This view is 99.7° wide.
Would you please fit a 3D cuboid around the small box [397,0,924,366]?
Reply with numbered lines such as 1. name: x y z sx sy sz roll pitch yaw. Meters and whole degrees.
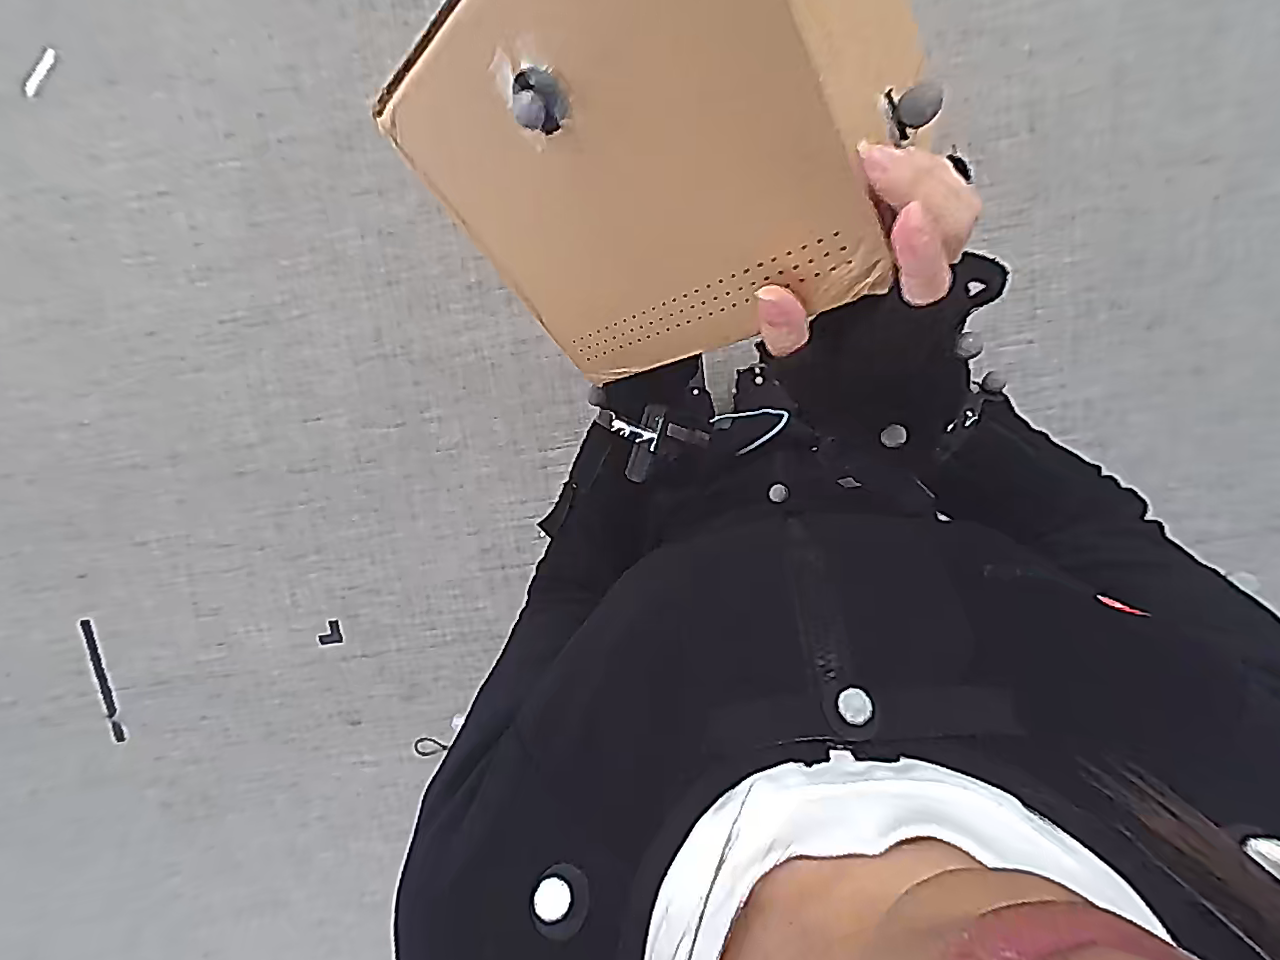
1. small box: 0.021 -0.184 0.283 0.176 0.179 0.168 47 54 -31
